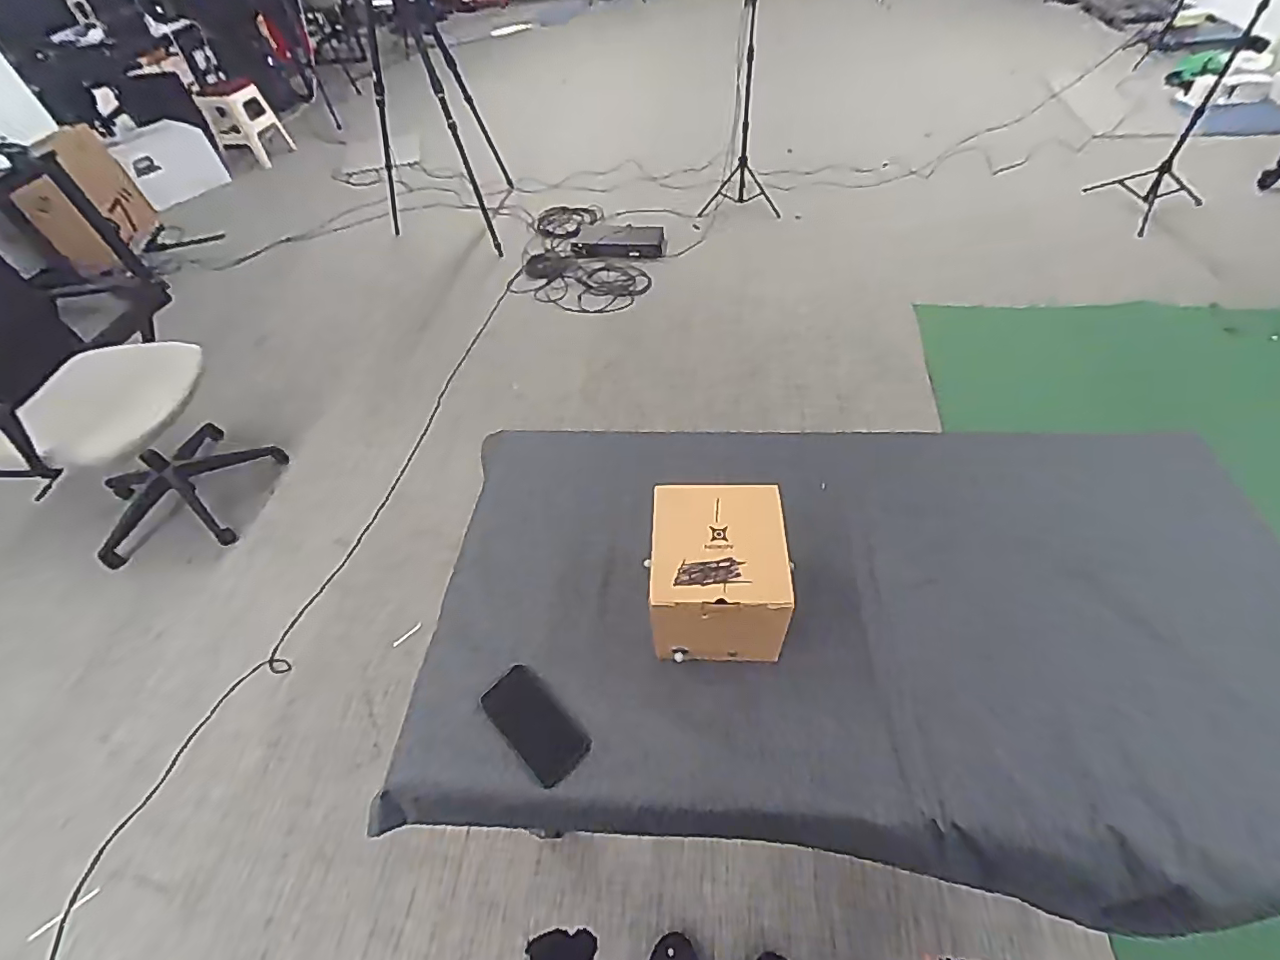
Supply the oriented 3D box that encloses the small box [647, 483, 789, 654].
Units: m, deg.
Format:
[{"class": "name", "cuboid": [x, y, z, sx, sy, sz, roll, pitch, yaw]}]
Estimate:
[{"class": "small box", "cuboid": [0.101, 0.122, 0.732, 0.168, 0.176, 0.179, 0, 50, 5]}]
